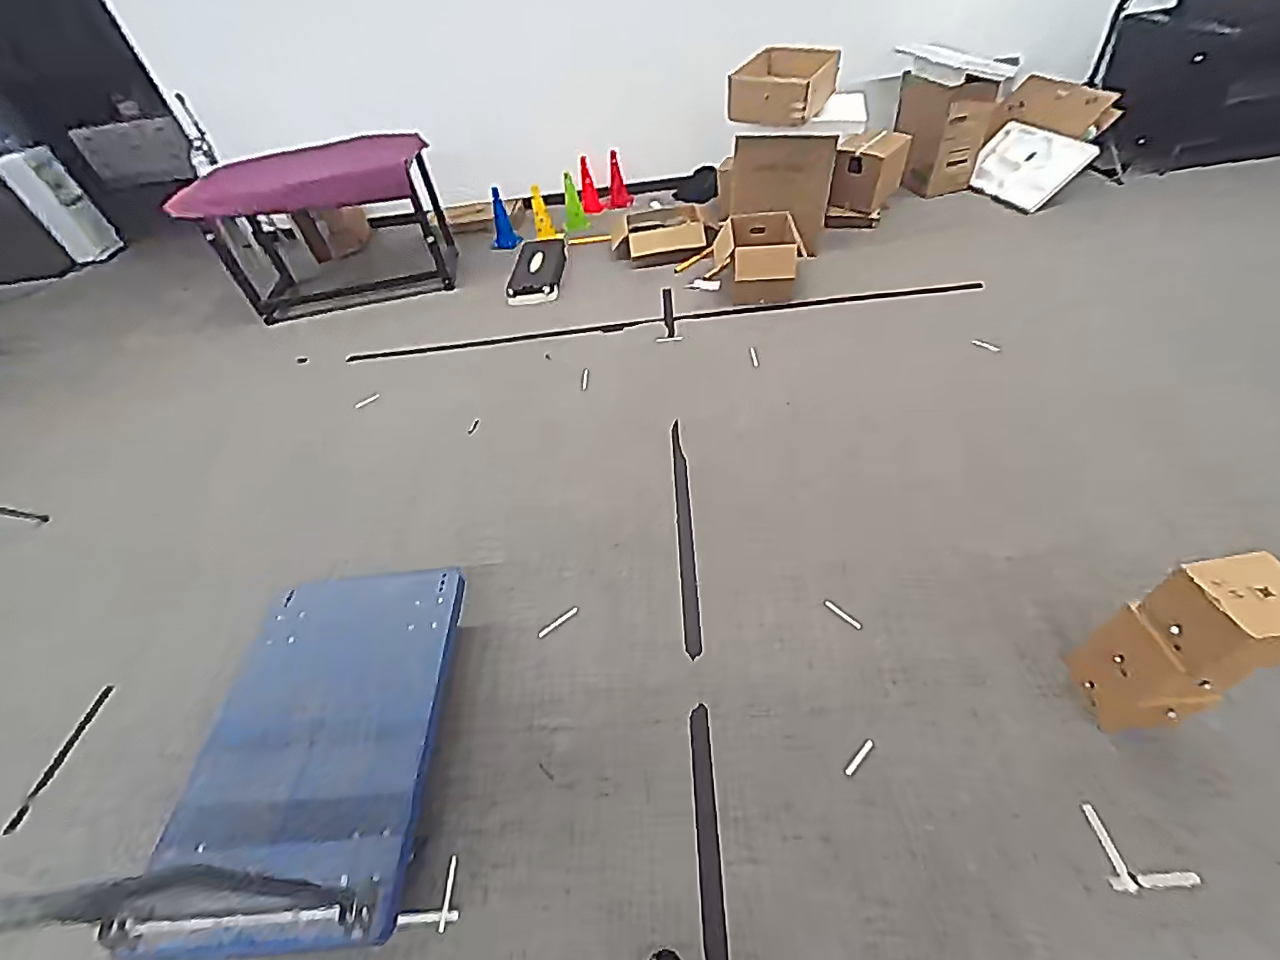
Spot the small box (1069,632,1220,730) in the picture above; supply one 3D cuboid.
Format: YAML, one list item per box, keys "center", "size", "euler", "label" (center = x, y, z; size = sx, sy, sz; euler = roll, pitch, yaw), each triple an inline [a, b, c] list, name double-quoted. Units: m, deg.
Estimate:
- center: [1.207, 0.489, 1.312]
  size: [0.179, 0.176, 0.168]
  euler: [-7, 46, 3]
  label: "small box"

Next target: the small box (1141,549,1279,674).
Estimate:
- center: [1.175, 0.263, 1.074]
  size: [0.179, 0.176, 0.168]
  euler: [-10, 45, 1]
  label: "small box"
